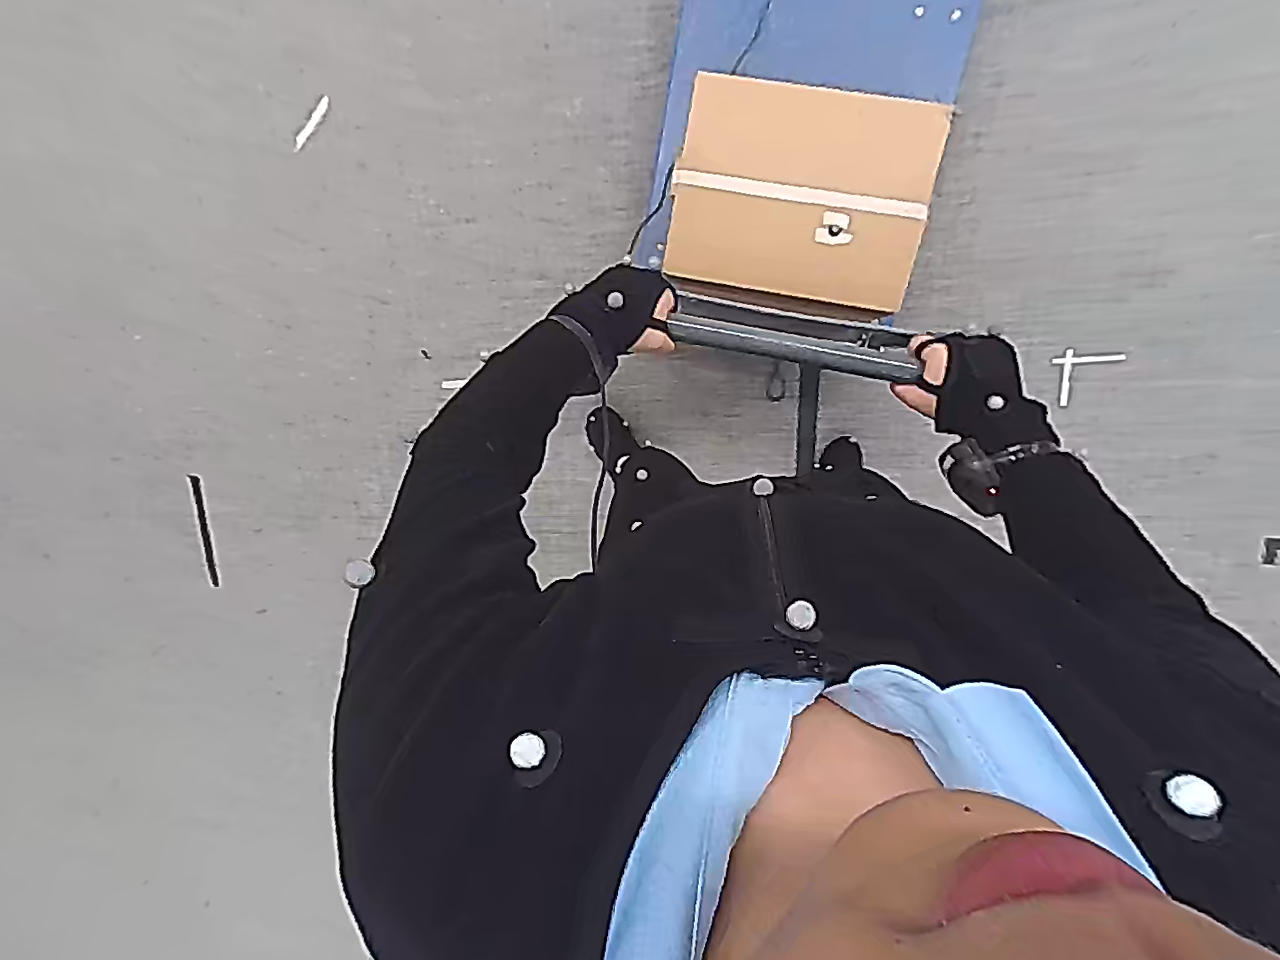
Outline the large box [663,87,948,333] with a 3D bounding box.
[{"bbox_3d":[0.273,-0.475,1.024,0.408,0.320,0.320,12,104,5],"label":"large box"}]
